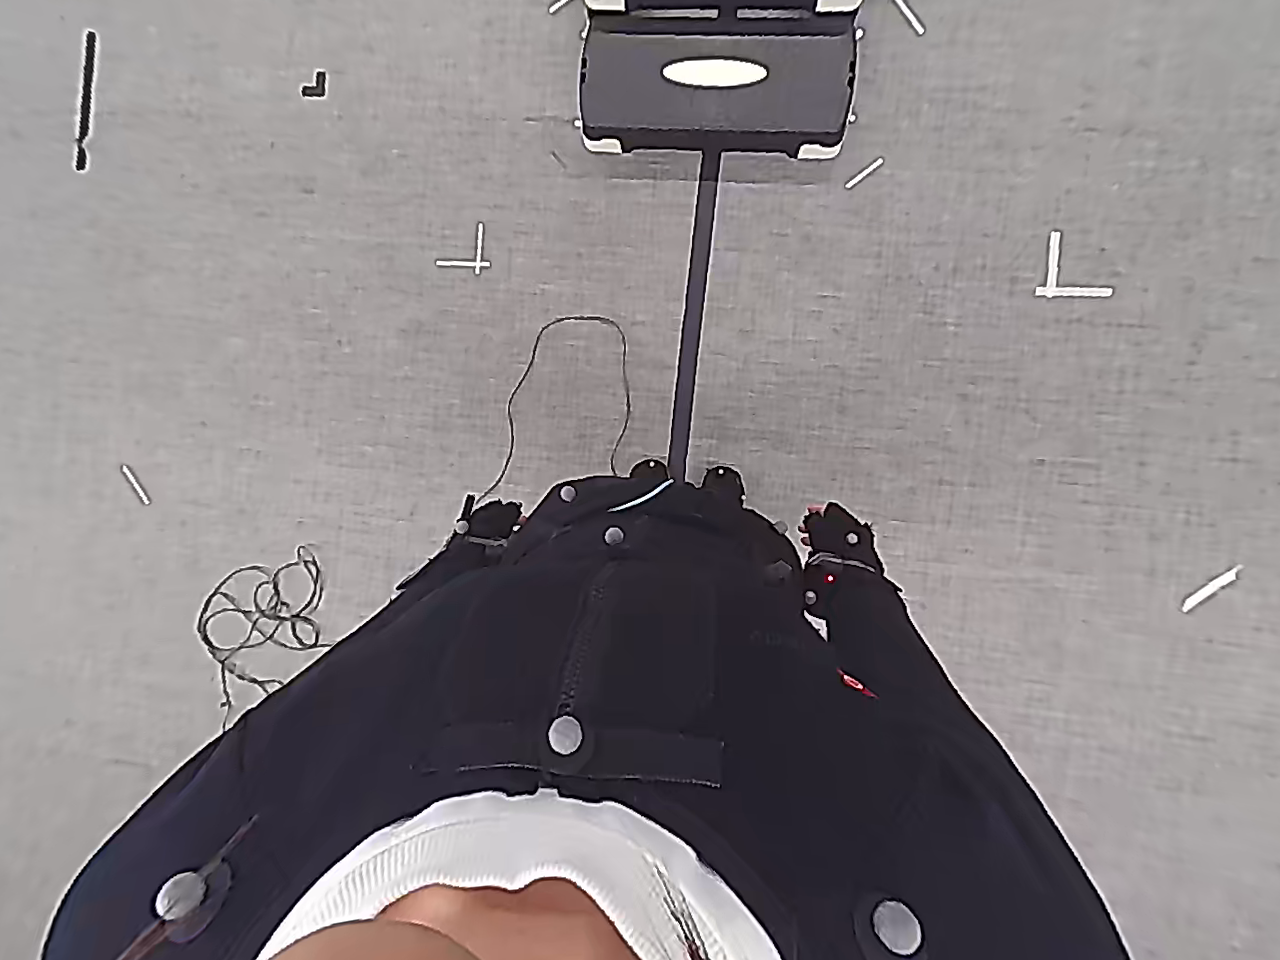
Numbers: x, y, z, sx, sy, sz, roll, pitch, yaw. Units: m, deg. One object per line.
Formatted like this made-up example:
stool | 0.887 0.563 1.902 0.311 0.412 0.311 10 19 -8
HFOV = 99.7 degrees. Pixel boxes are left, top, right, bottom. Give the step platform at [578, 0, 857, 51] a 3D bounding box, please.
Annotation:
step platform | 0.186 -1.243 1.291 0.684 0.204 0.286 4 93 5
